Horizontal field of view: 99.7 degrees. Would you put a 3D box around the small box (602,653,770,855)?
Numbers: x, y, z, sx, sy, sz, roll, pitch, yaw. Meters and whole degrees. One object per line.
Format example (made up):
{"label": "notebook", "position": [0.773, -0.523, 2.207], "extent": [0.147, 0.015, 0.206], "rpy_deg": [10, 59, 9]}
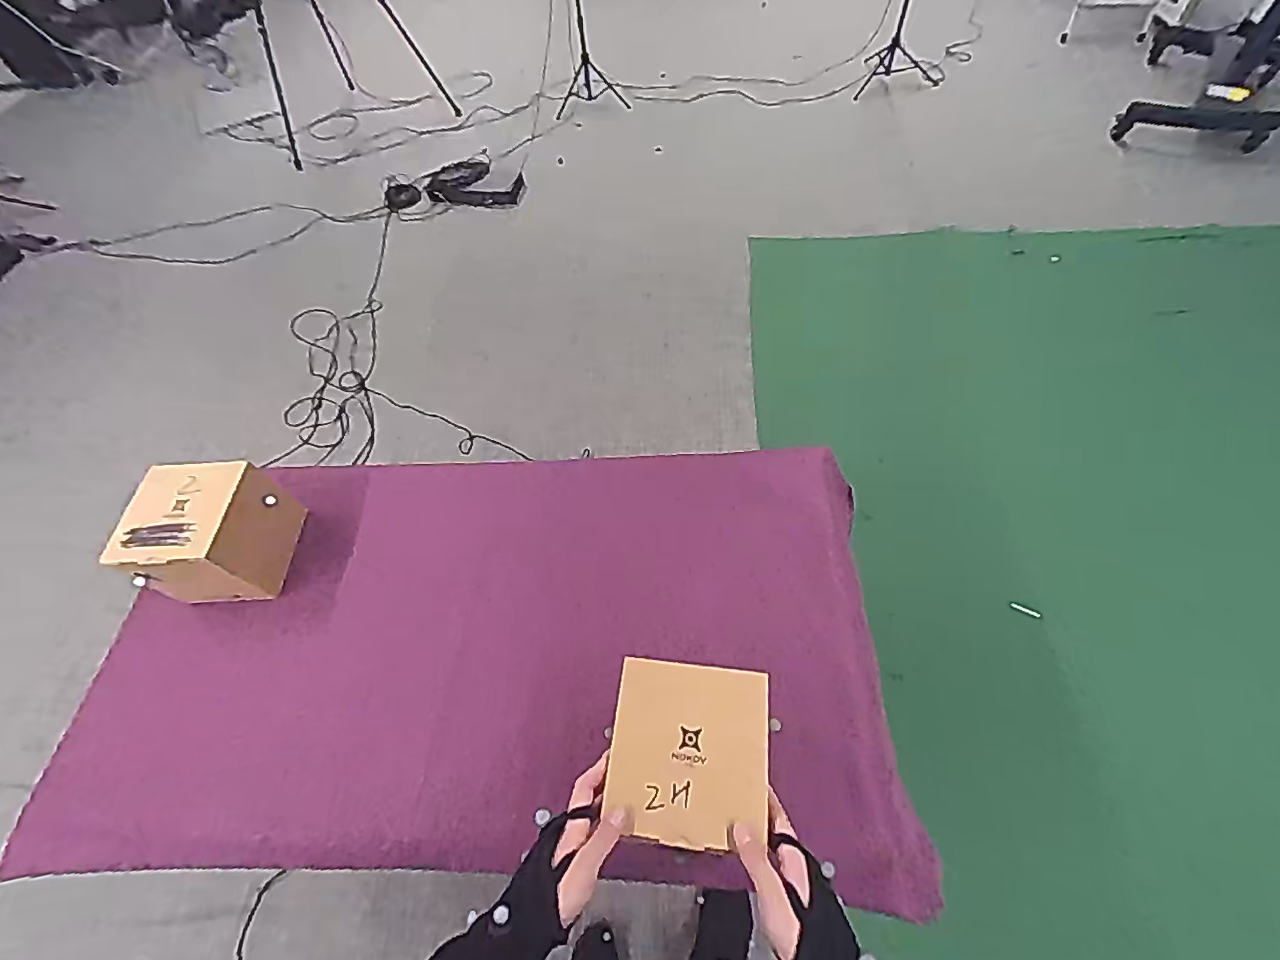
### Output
{"label": "small box", "position": [0.058, 0.324, 0.636], "extent": [0.168, 0.176, 0.179], "rpy_deg": [4, 56, 8]}
